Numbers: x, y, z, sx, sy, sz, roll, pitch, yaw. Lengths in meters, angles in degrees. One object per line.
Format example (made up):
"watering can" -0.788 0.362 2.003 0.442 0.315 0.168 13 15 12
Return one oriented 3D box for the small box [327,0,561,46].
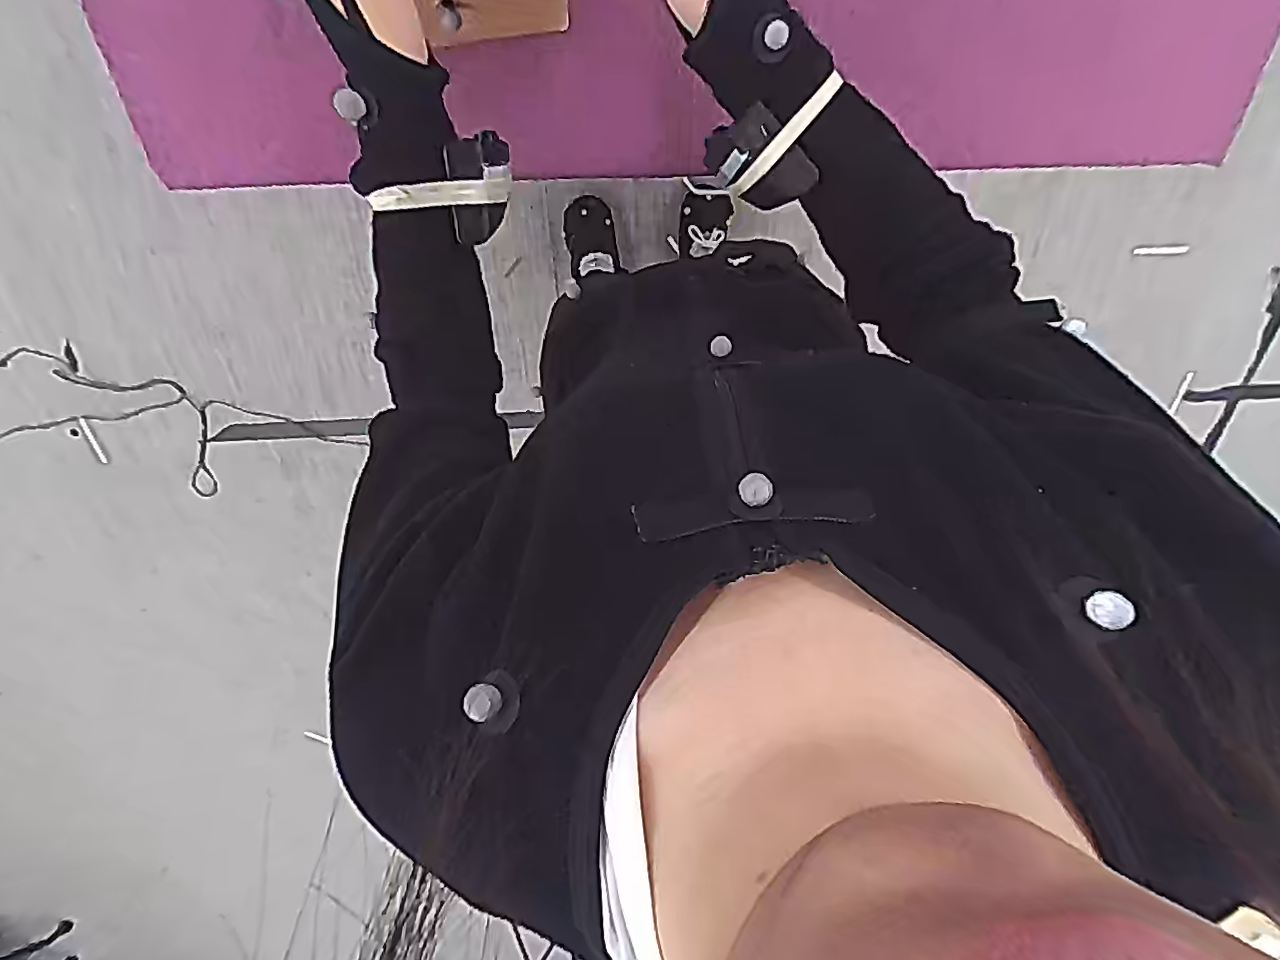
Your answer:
"small box" -0.159 -0.469 0.425 0.179 0.176 0.168 -9 120 0
